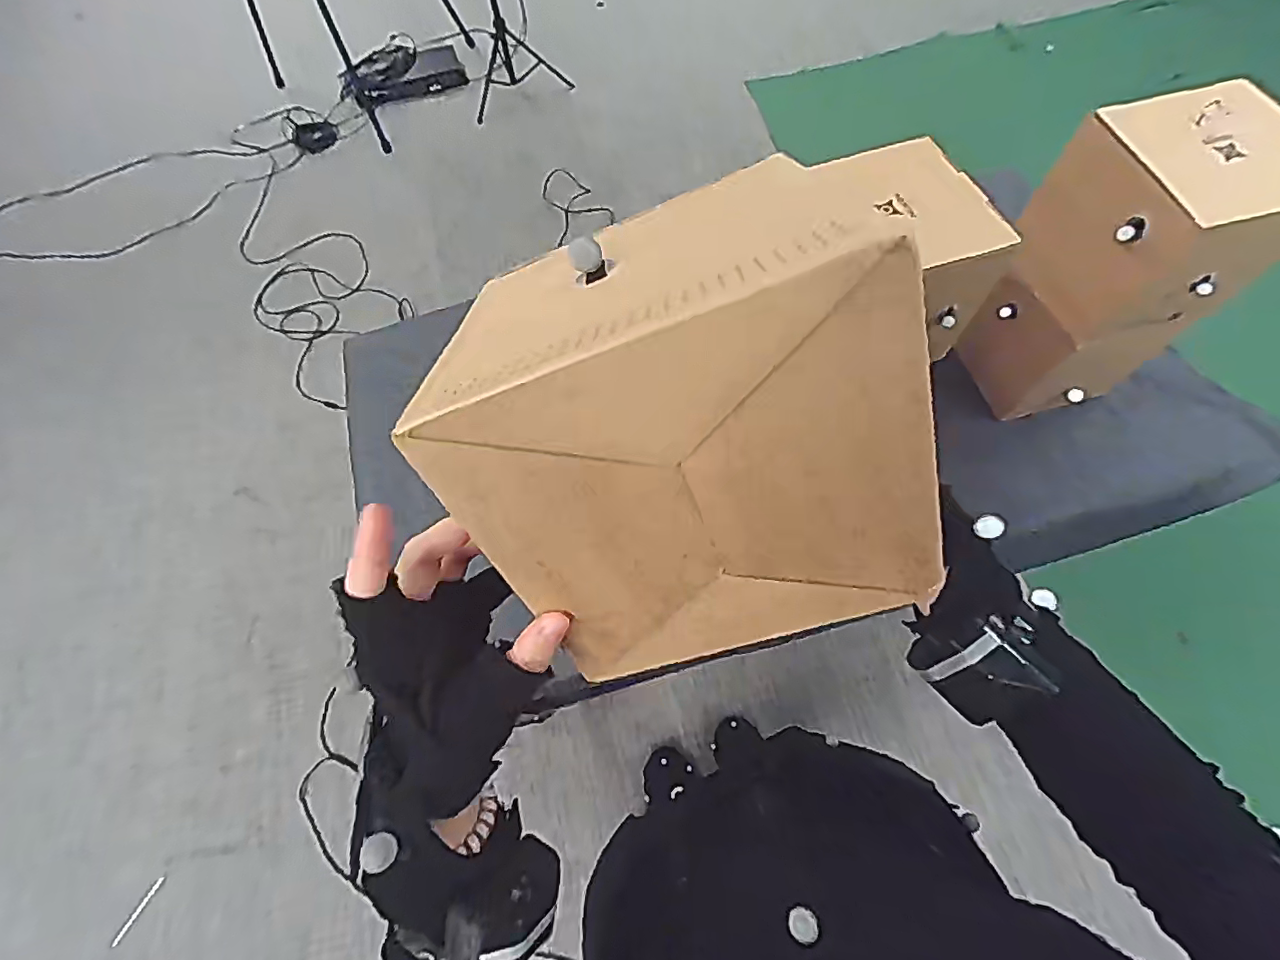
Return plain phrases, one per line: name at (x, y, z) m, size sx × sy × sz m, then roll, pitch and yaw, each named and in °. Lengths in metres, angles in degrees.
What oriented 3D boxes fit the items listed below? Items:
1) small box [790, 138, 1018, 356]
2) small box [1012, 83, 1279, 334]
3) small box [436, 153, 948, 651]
small box at (0.241, -0.221, 0.584) m, size 0.179 × 0.176 × 0.168 m, roll -17°, pitch 64°, yaw -4°
small box at (0.557, -0.280, 0.589) m, size 0.168 × 0.176 × 0.179 m, roll -13°, pitch 65°, yaw -2°
small box at (0.026, -0.036, 0.279) m, size 0.179 × 0.168 × 0.176 m, roll -18°, pitch 38°, yaw 13°
